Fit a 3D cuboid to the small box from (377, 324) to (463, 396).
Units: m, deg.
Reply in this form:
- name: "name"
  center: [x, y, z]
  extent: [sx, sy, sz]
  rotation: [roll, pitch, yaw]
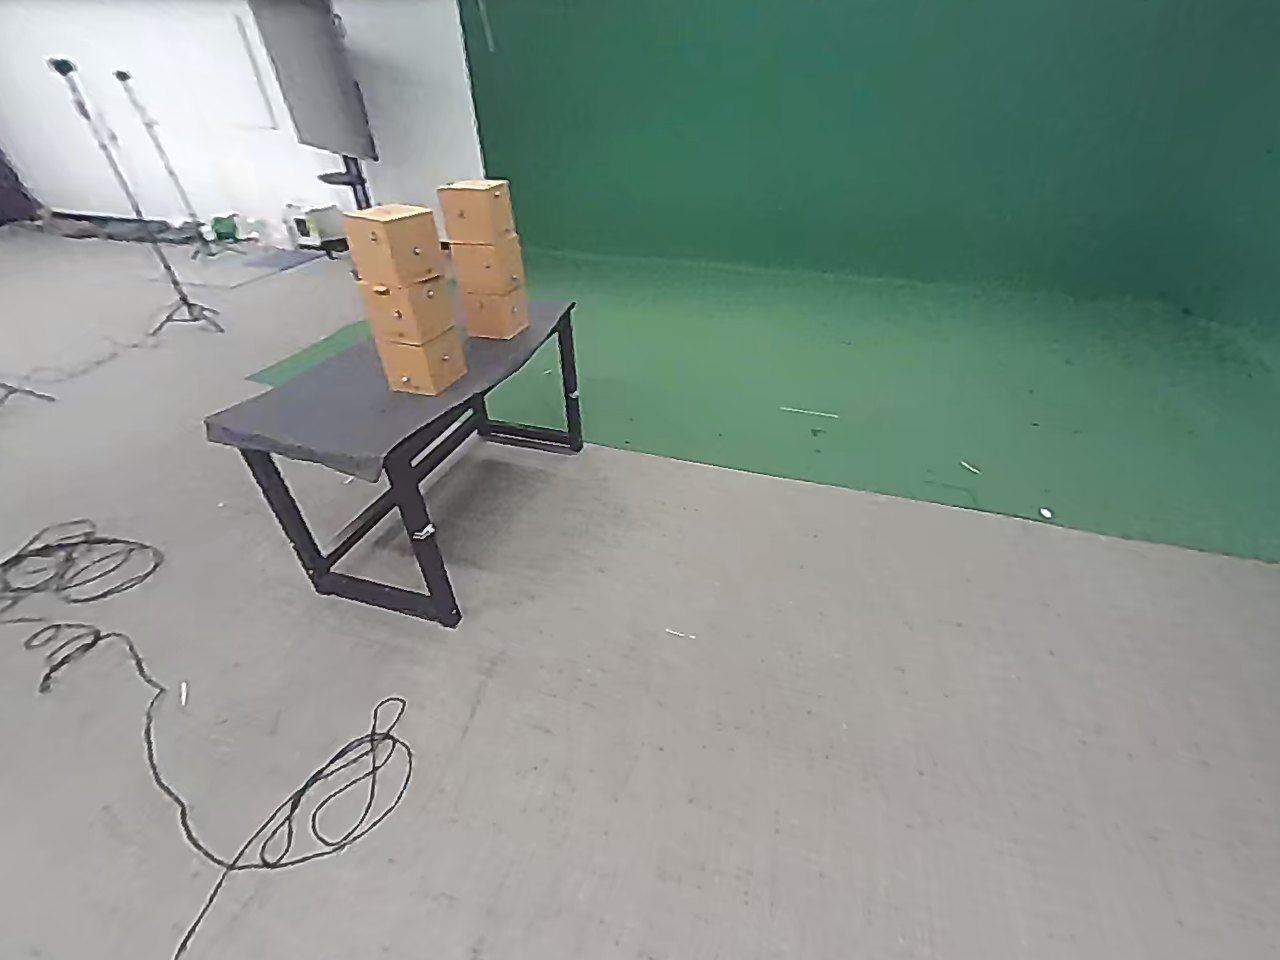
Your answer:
- name: "small box"
  center: [-0.669, -0.381, 1.669]
  extent: [0.168, 0.176, 0.179]
  rotation: [10, 39, 15]

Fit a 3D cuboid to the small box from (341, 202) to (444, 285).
- name: "small box"
  center: [-0.663, -0.641, 1.470]
  extent: [0.179, 0.176, 0.168]
  rotation: [20, 41, 25]

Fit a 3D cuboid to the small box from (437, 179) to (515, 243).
- name: "small box"
  center: [-0.541, -0.899, 1.808]
  extent: [0.179, 0.176, 0.168]
  rotation: [7, 38, 12]

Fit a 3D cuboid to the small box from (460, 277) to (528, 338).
- name: "small box"
  center: [-0.534, -0.638, 2.007]
  extent: [0.179, 0.176, 0.168]
  rotation: [9, 38, 15]

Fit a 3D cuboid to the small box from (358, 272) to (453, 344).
- name: "small box"
  center: [-0.669, -0.508, 1.568]
  extent: [0.168, 0.176, 0.179]
  rotation: [12, 38, 15]
